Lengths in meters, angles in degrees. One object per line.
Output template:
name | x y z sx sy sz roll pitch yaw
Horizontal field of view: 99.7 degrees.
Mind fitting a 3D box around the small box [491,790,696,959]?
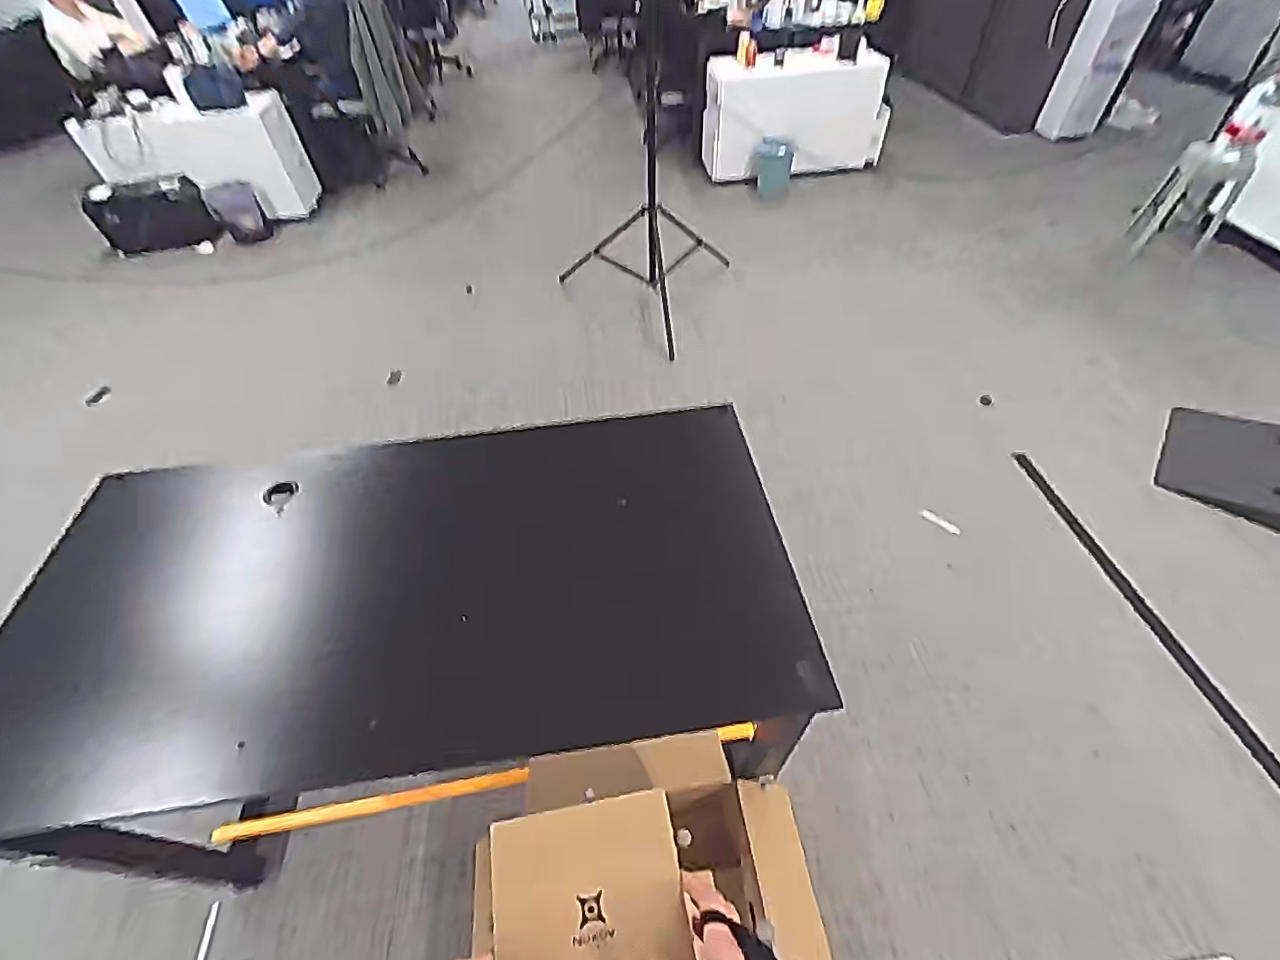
small box | -0.041 0.415 0.518 0.168 0.176 0.179 -9 59 -5
